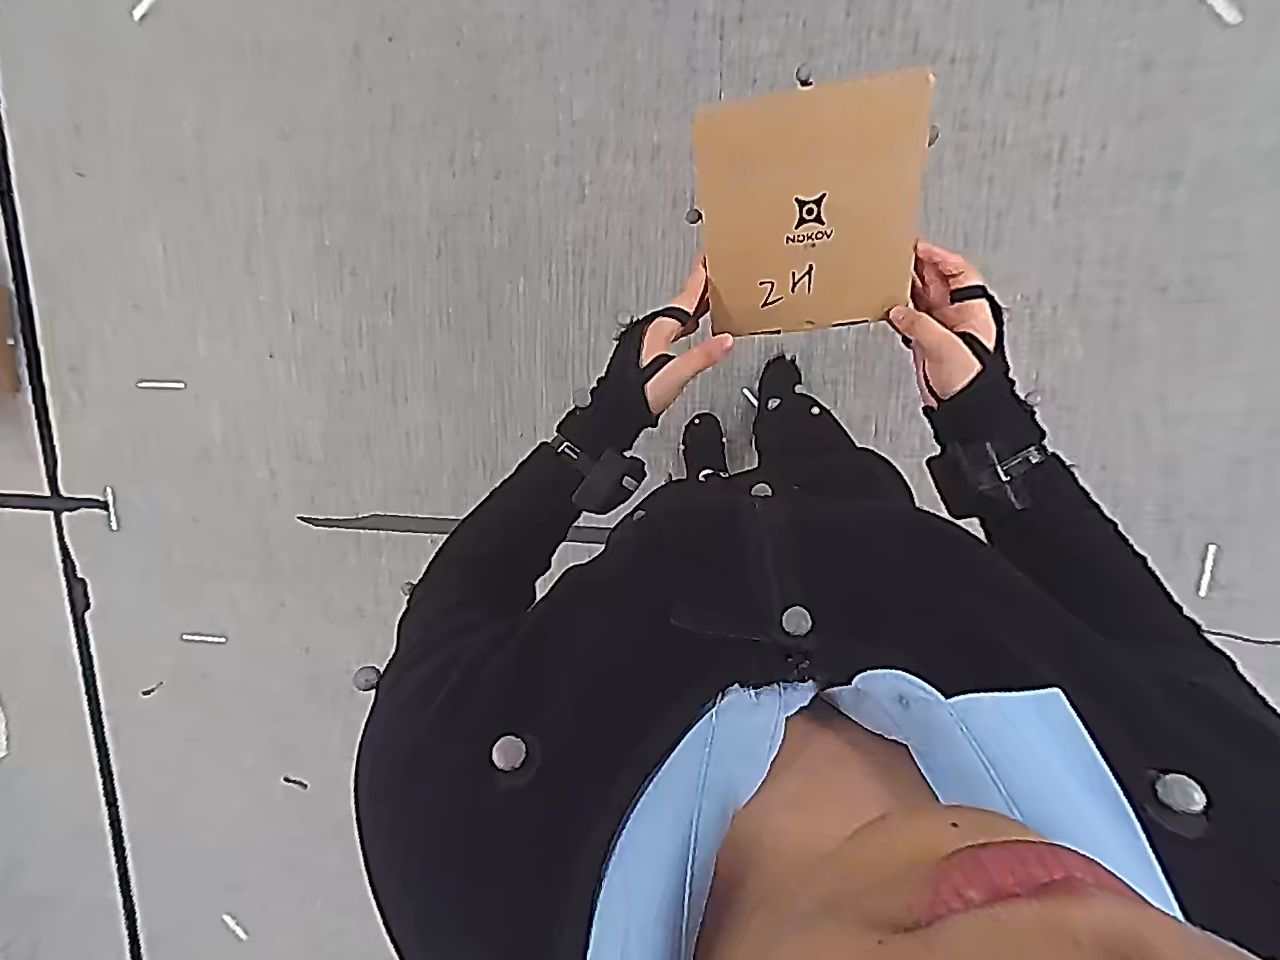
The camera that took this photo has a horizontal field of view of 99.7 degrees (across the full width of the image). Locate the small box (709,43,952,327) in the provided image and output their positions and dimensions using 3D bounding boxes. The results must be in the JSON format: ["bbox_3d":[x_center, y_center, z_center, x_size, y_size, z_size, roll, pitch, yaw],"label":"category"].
[{"bbox_3d":[0.150,-0.255,0.481,0.168,0.176,0.179,-4,124,12],"label":"small box"}]
